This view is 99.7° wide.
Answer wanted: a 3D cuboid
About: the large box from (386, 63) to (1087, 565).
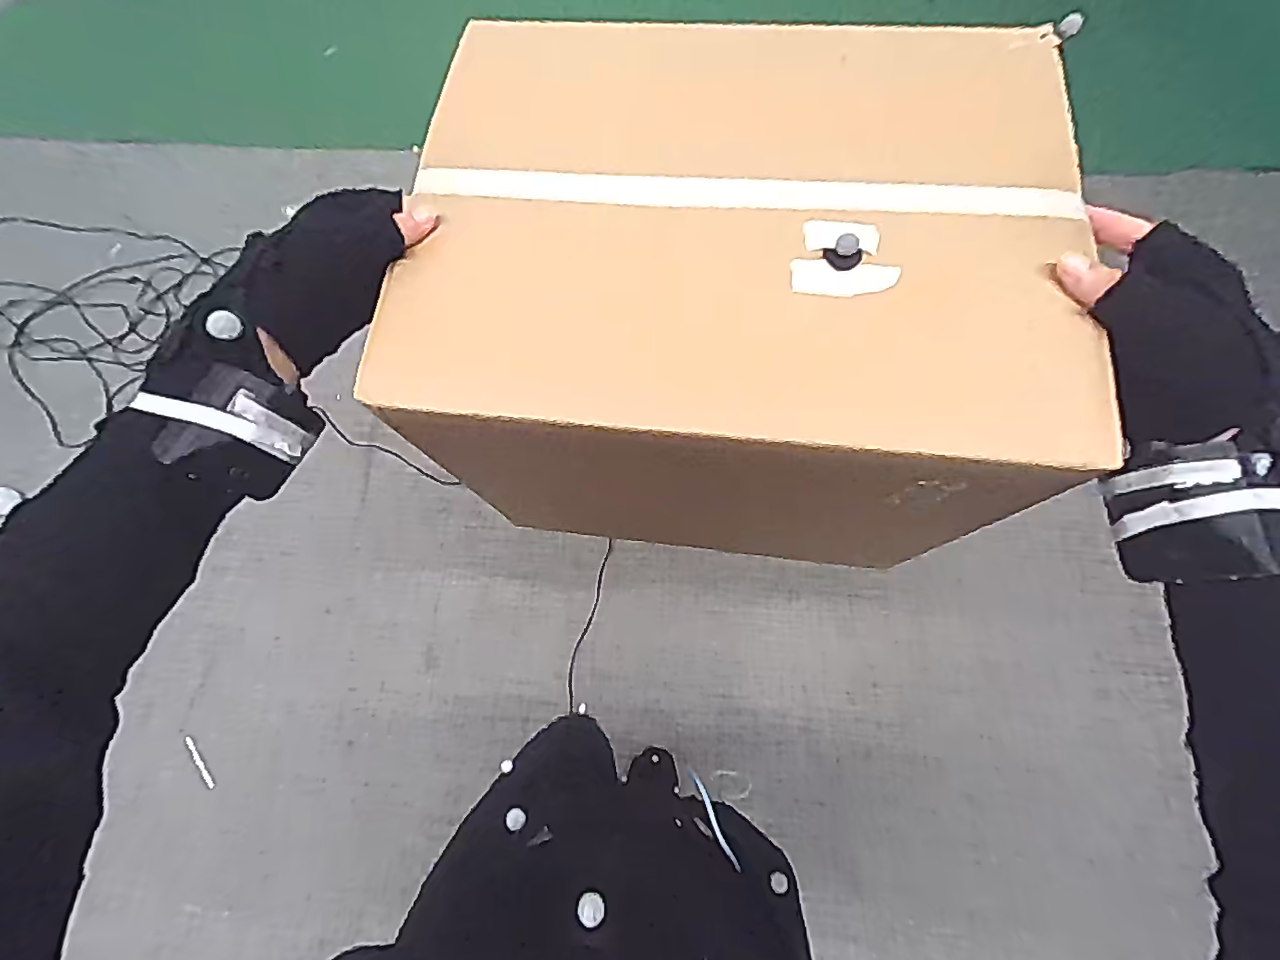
[{"bbox_3d":[0.066,-0.115,0.492,0.408,0.320,0.320,5,72,6],"label":"large box"}]
